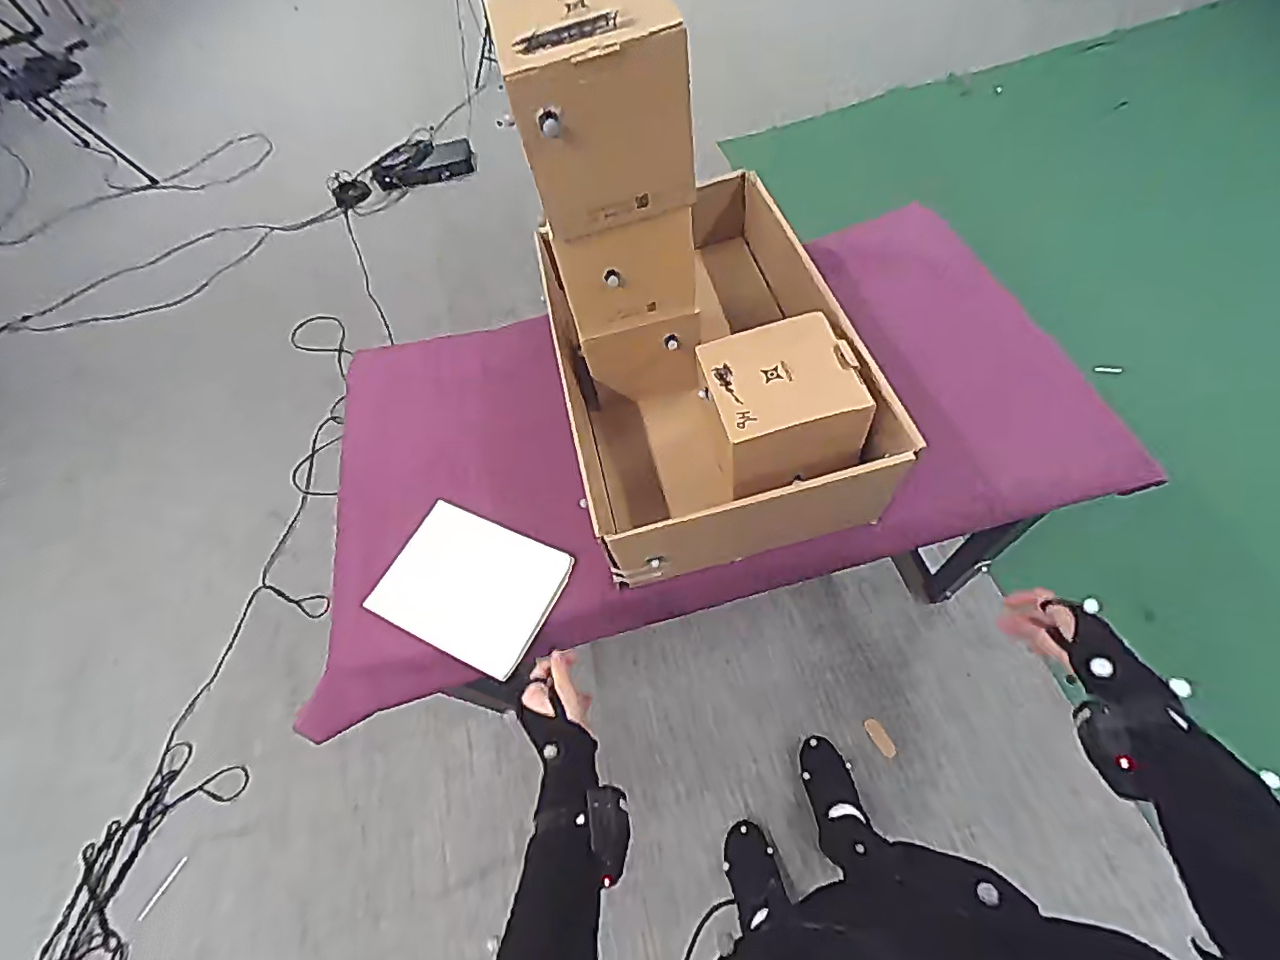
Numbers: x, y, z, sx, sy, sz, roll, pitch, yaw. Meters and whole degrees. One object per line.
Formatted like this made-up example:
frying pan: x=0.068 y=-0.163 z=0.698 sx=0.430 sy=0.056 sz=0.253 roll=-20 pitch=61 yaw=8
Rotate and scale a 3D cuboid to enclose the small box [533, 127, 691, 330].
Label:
small box: x=-0.032 y=-0.323 z=0.723 sx=0.168 sy=0.176 sz=0.179 roll=-14 pitch=60 yaw=1
